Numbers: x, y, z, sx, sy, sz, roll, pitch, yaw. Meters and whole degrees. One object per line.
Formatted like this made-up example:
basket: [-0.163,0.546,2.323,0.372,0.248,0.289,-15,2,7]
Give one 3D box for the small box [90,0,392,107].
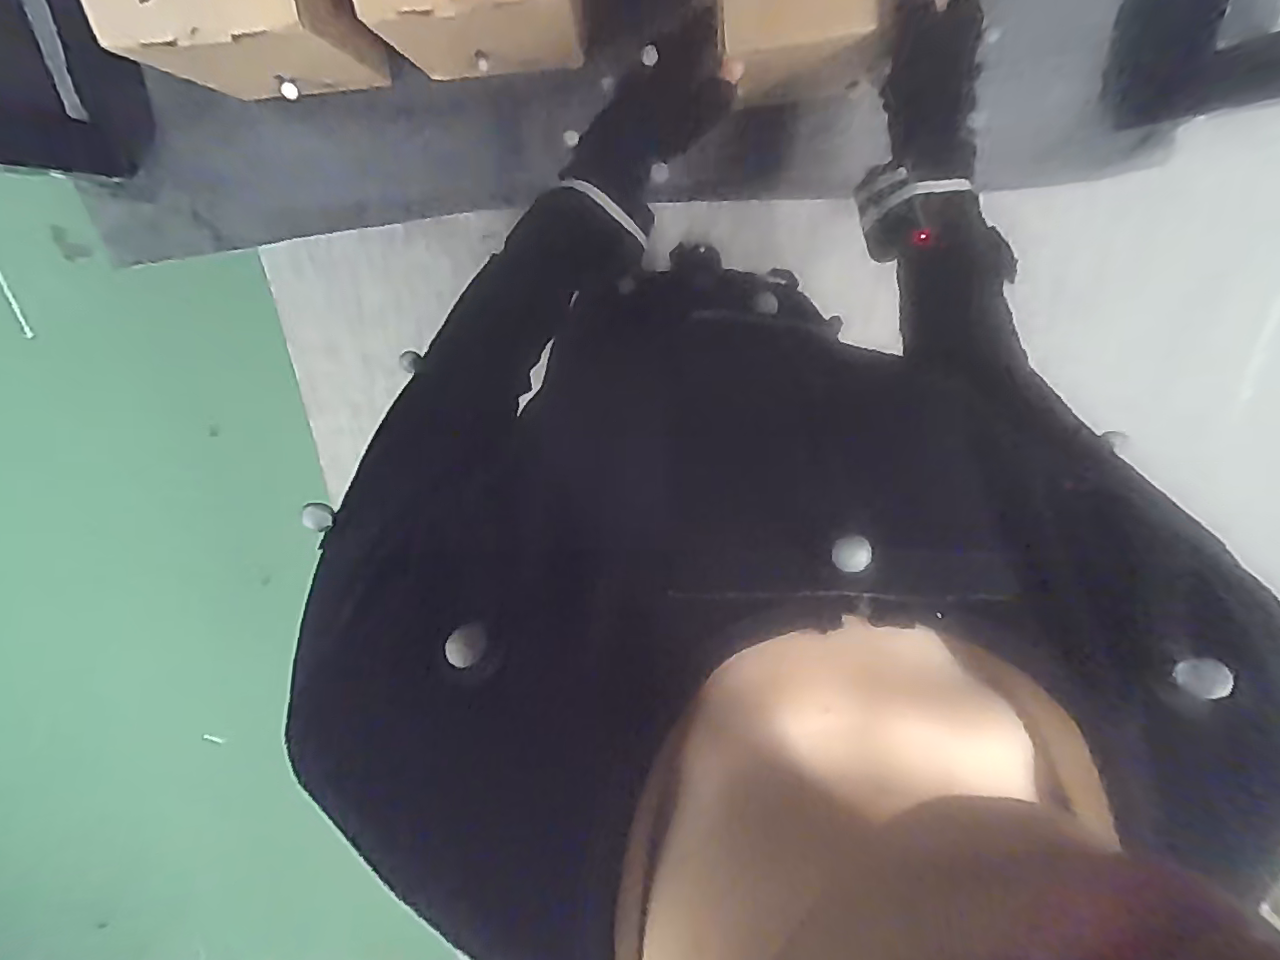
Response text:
small box: [-0.346,-0.454,0.470,0.168,0.176,0.179,-4,113,2]
